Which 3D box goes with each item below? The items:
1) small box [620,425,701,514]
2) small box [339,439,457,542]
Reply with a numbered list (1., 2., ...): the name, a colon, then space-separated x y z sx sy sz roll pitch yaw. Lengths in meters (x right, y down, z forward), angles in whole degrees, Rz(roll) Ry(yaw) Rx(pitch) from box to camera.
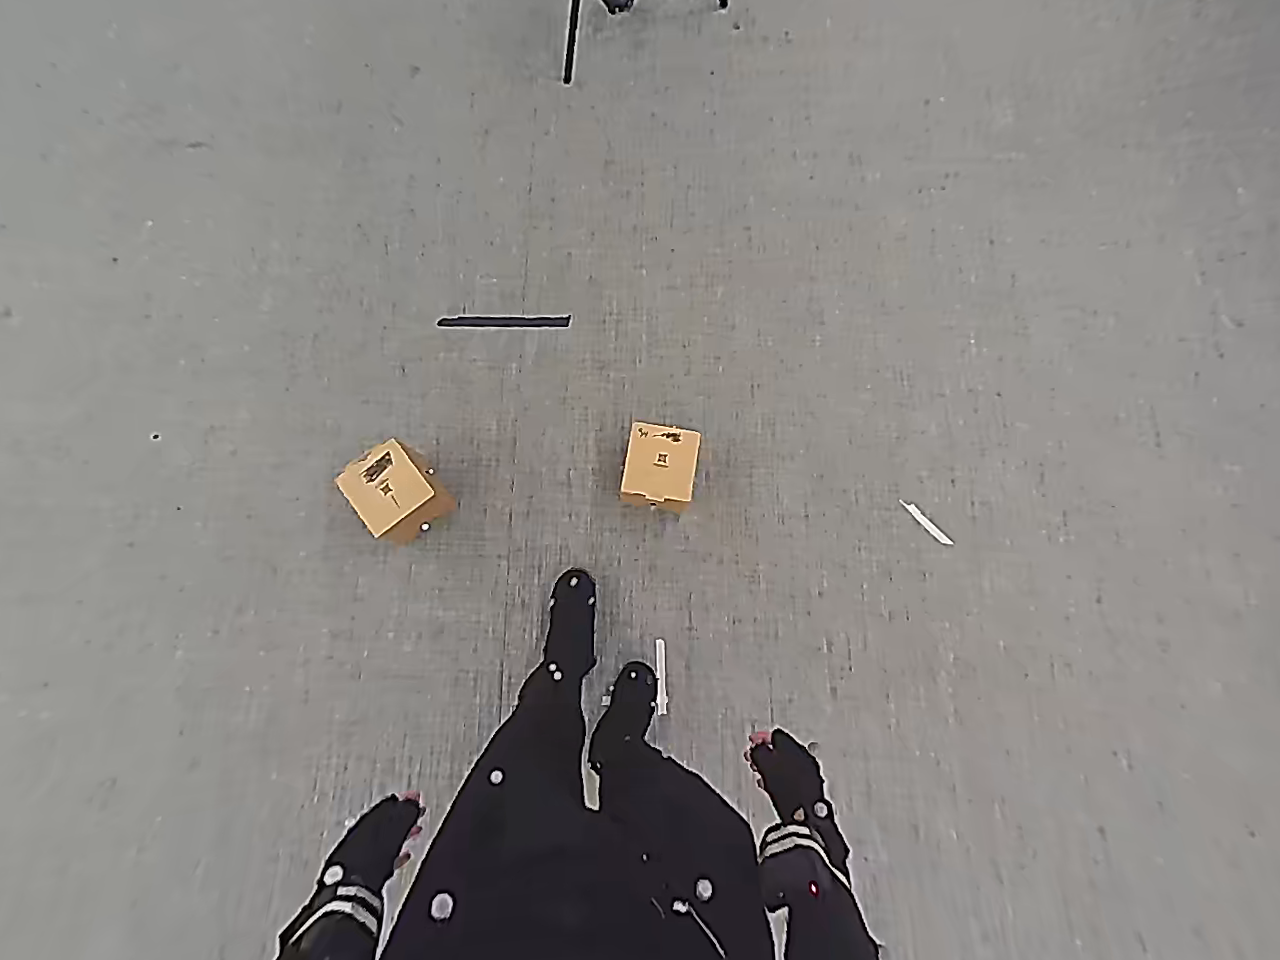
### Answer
1. small box: 0.049 -0.019 1.344 0.168 0.176 0.179 10 78 1
2. small box: -0.581 0.034 1.318 0.168 0.176 0.179 -38 82 -8
